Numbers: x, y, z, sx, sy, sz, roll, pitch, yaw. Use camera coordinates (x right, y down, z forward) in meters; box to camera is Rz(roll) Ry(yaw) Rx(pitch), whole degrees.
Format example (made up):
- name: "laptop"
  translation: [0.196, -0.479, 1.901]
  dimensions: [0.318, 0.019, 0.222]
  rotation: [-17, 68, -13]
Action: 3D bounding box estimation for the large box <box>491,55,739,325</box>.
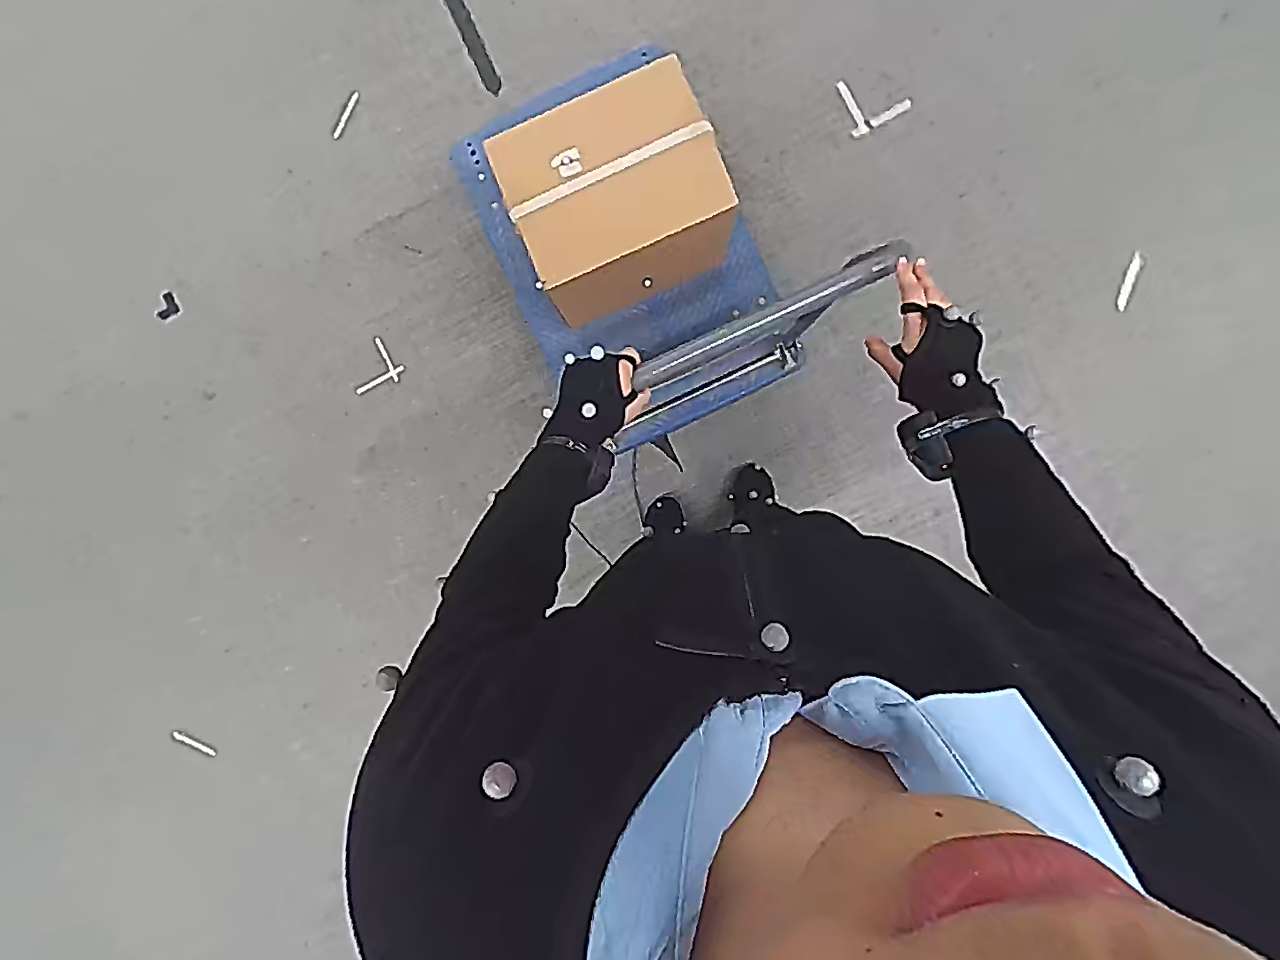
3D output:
- name: "large box"
  translation: [-0.041, -0.593, 1.183]
  dimensions: [0.408, 0.320, 0.320]
  rotation: [-23, 89, 4]
